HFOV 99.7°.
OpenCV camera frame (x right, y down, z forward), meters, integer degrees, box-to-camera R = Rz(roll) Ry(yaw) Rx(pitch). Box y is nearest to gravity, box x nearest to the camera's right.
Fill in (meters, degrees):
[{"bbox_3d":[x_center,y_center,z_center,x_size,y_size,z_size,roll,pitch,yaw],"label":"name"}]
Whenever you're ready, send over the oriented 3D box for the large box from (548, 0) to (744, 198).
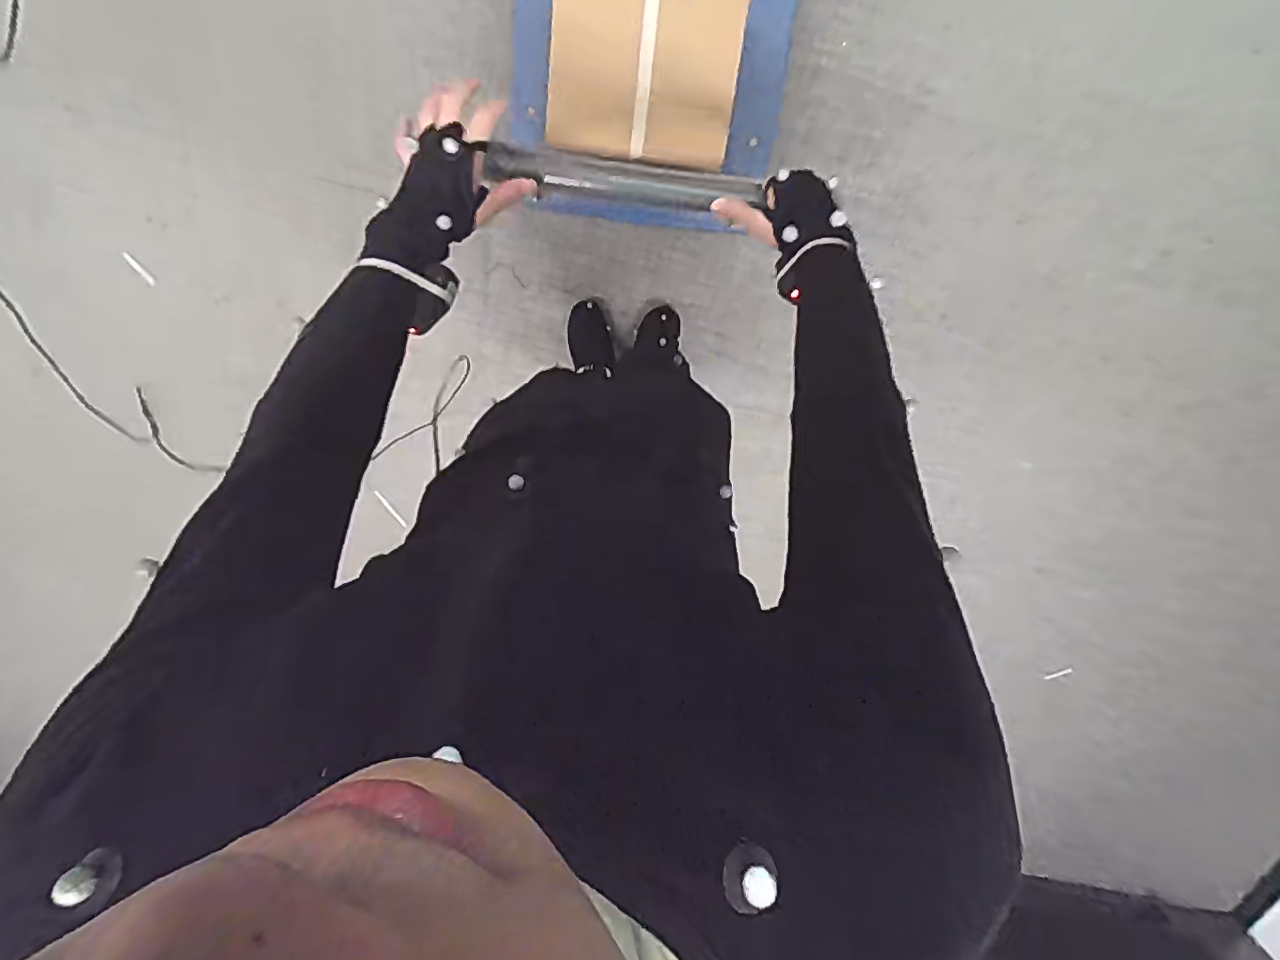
[{"bbox_3d":[0.010,-0.797,1.034,0.320,0.320,0.408,6,110,-4],"label":"large box"}]
